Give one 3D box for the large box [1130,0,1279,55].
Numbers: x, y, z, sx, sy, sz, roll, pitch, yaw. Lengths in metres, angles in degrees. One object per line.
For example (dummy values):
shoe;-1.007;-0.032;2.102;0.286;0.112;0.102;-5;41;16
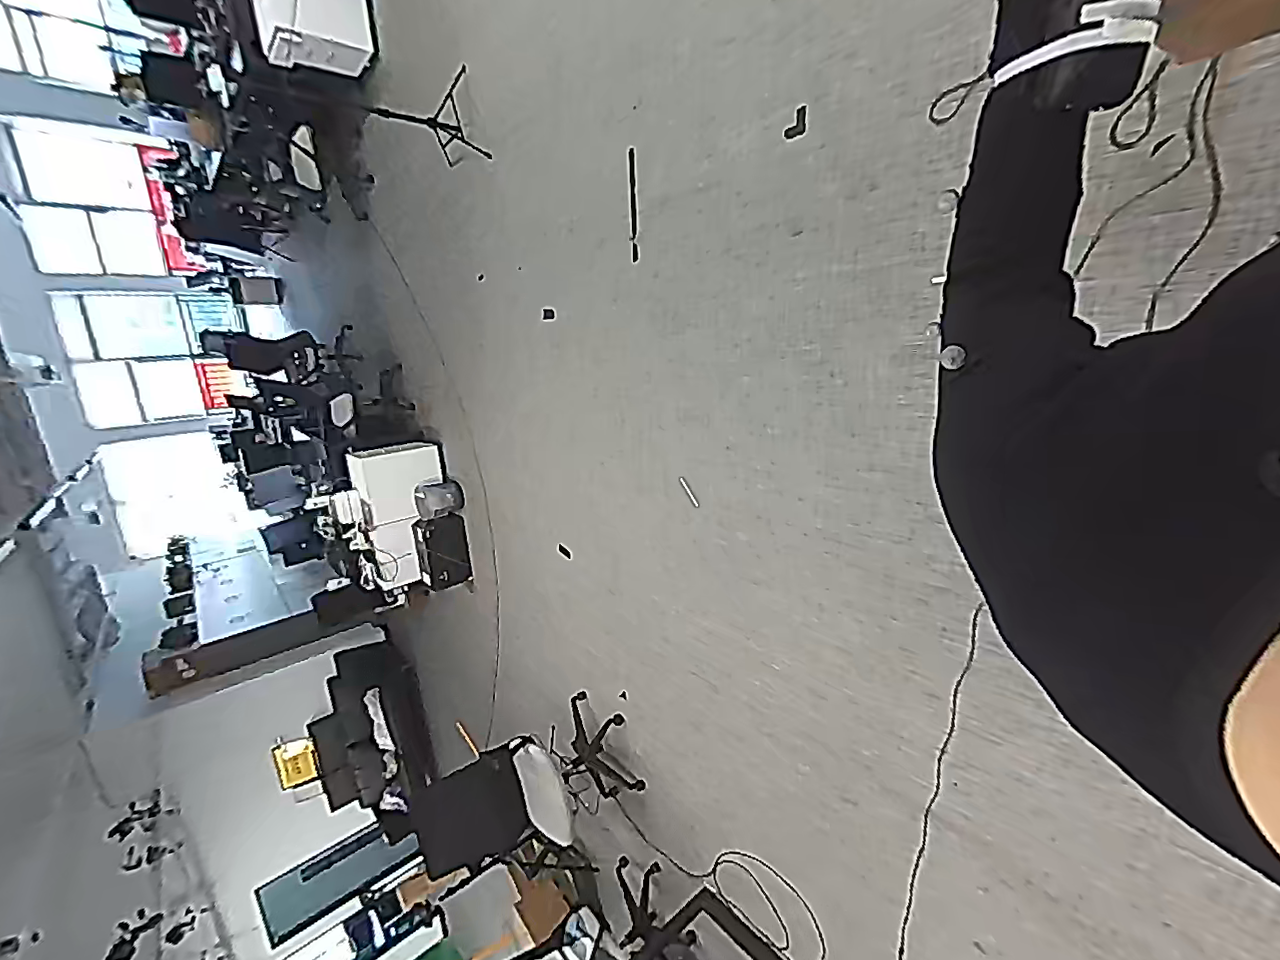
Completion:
large box;0.523;-0.497;0.260;0.408;0.320;0.320;7;116;48
